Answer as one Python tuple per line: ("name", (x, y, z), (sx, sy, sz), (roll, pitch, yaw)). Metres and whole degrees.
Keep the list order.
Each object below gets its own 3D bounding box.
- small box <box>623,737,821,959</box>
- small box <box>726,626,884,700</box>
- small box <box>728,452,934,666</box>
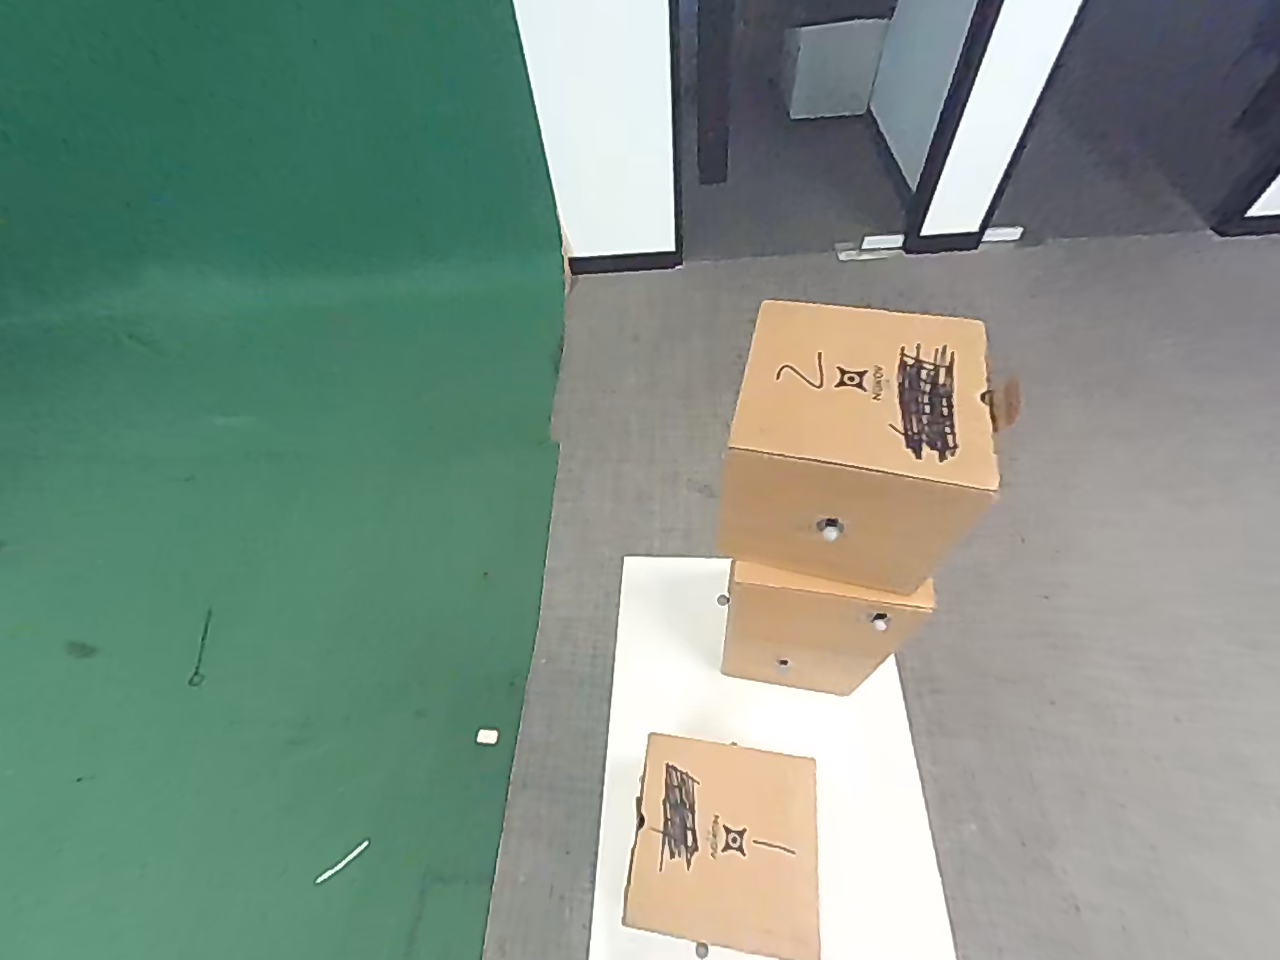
("small box", (0.088, 0.395, 0.581), (0.179, 0.176, 0.168), (6, 55, 8))
("small box", (0.210, 0.182, 0.723), (0.179, 0.176, 0.168), (6, 56, 11))
("small box", (0.192, 0.089, 0.590), (0.179, 0.176, 0.168), (6, 55, 10))
